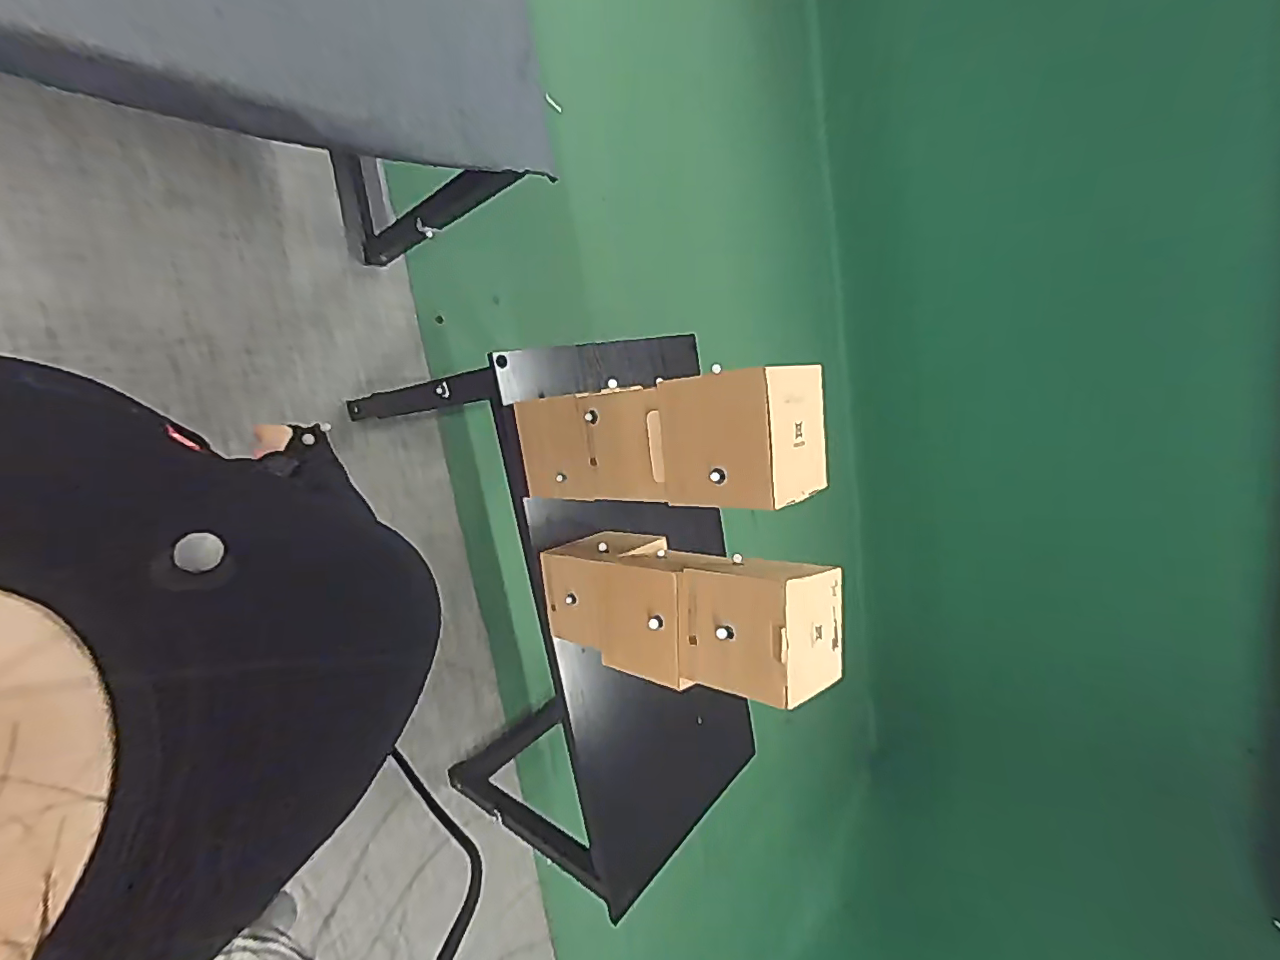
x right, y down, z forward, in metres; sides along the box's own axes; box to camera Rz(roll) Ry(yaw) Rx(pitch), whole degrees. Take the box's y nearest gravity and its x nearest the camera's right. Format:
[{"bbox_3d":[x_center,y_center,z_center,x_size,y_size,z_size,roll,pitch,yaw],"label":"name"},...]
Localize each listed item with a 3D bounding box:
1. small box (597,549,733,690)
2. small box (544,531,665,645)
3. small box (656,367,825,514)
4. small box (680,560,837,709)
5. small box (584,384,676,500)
[{"bbox_3d":[0.042,0.217,0.892,0.168,0.176,0.179,-2,92,-47],"label":"small box"},{"bbox_3d":[-0.066,0.197,1.013,0.179,0.176,0.168,-14,102,-47],"label":"small box"},{"bbox_3d":[0.139,-0.060,0.746,0.168,0.176,0.179,-15,102,-48],"label":"small box"},{"bbox_3d":[0.172,0.211,0.791,0.179,0.176,0.168,2,88,-47],"label":"small box"},{"bbox_3d":[0.024,-0.065,0.862,0.179,0.176,0.168,-16,103,-48],"label":"small box"}]
